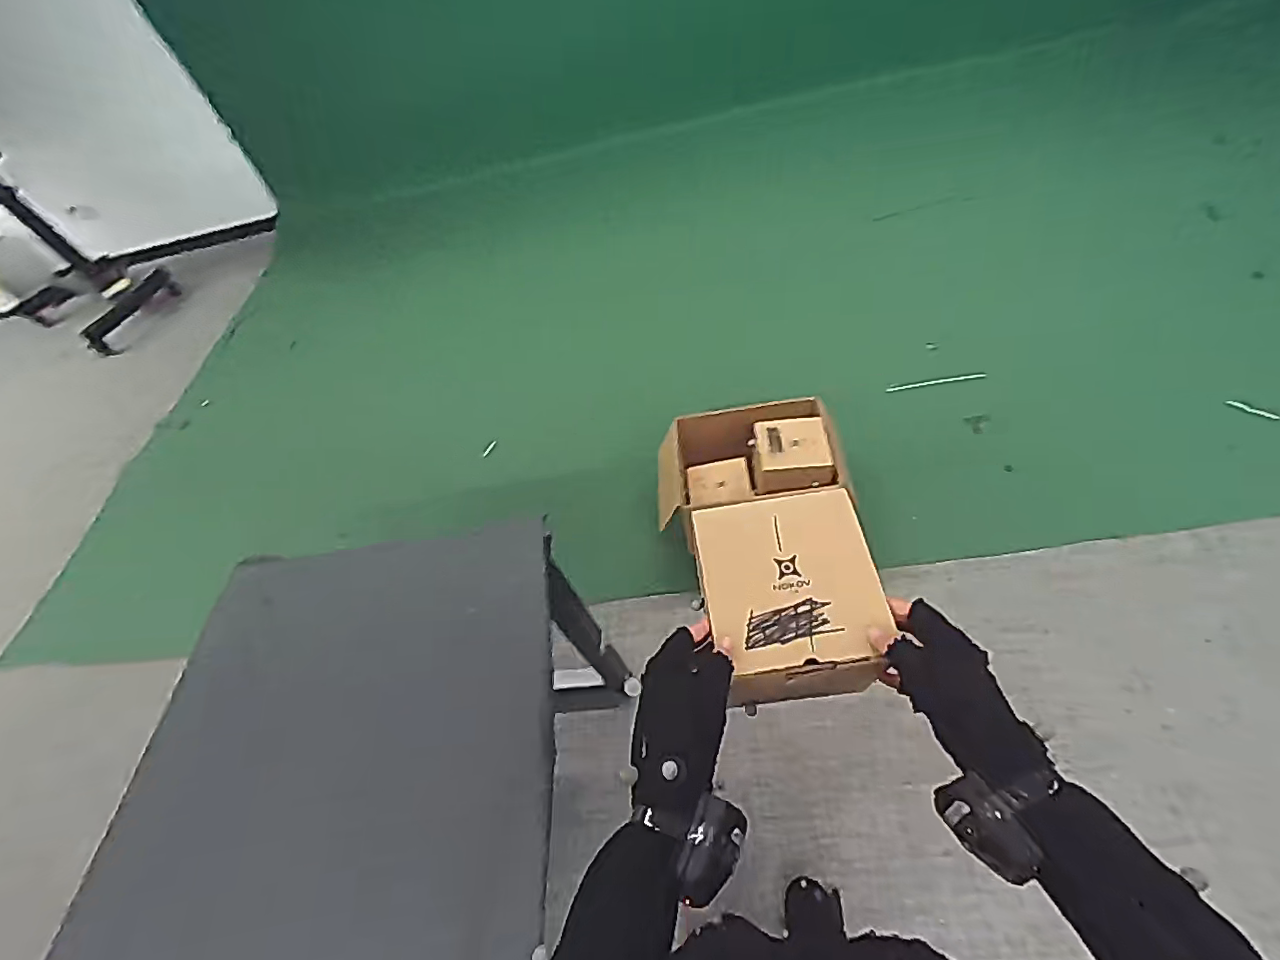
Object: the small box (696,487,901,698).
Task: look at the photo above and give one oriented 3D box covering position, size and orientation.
[{"bbox_3d":[0.157,0.133,0.593,0.168,0.176,0.179,-8,57,4],"label":"small box"}]
